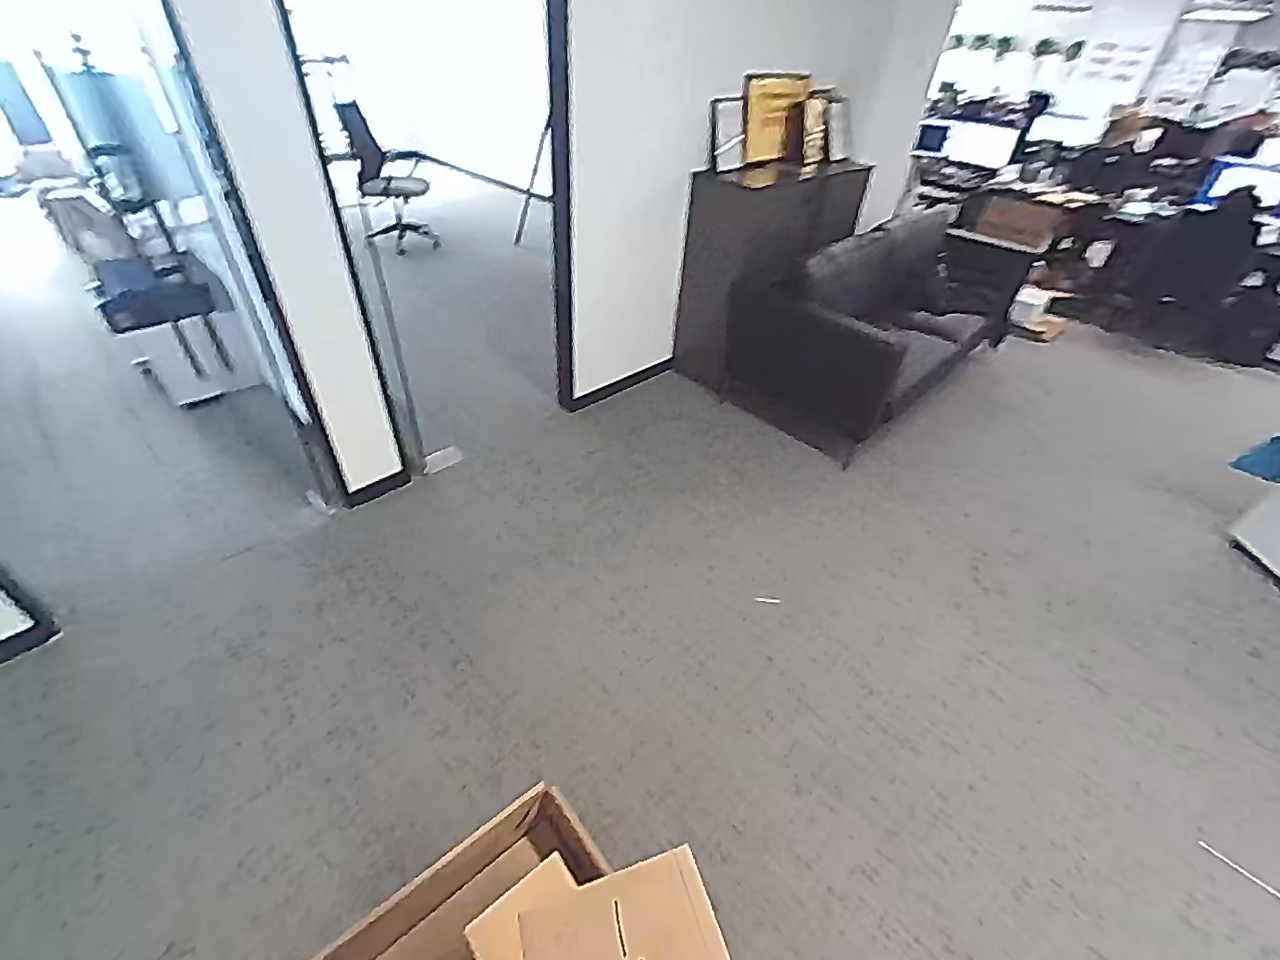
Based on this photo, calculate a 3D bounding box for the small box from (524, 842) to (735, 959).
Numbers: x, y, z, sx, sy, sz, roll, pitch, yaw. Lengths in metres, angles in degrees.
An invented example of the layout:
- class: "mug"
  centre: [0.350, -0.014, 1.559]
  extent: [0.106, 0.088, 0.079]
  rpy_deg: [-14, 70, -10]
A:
- class: "small box"
  centre: [0.003, 0.470, 0.478]
  extent: [0.168, 0.176, 0.179]
  rpy_deg: [-12, 38, -12]

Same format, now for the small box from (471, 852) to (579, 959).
- class: "small box"
  centre: [-0.147, 0.750, 0.855]
  extent: [0.168, 0.176, 0.179]
  rpy_deg: [-26, 49, -32]
